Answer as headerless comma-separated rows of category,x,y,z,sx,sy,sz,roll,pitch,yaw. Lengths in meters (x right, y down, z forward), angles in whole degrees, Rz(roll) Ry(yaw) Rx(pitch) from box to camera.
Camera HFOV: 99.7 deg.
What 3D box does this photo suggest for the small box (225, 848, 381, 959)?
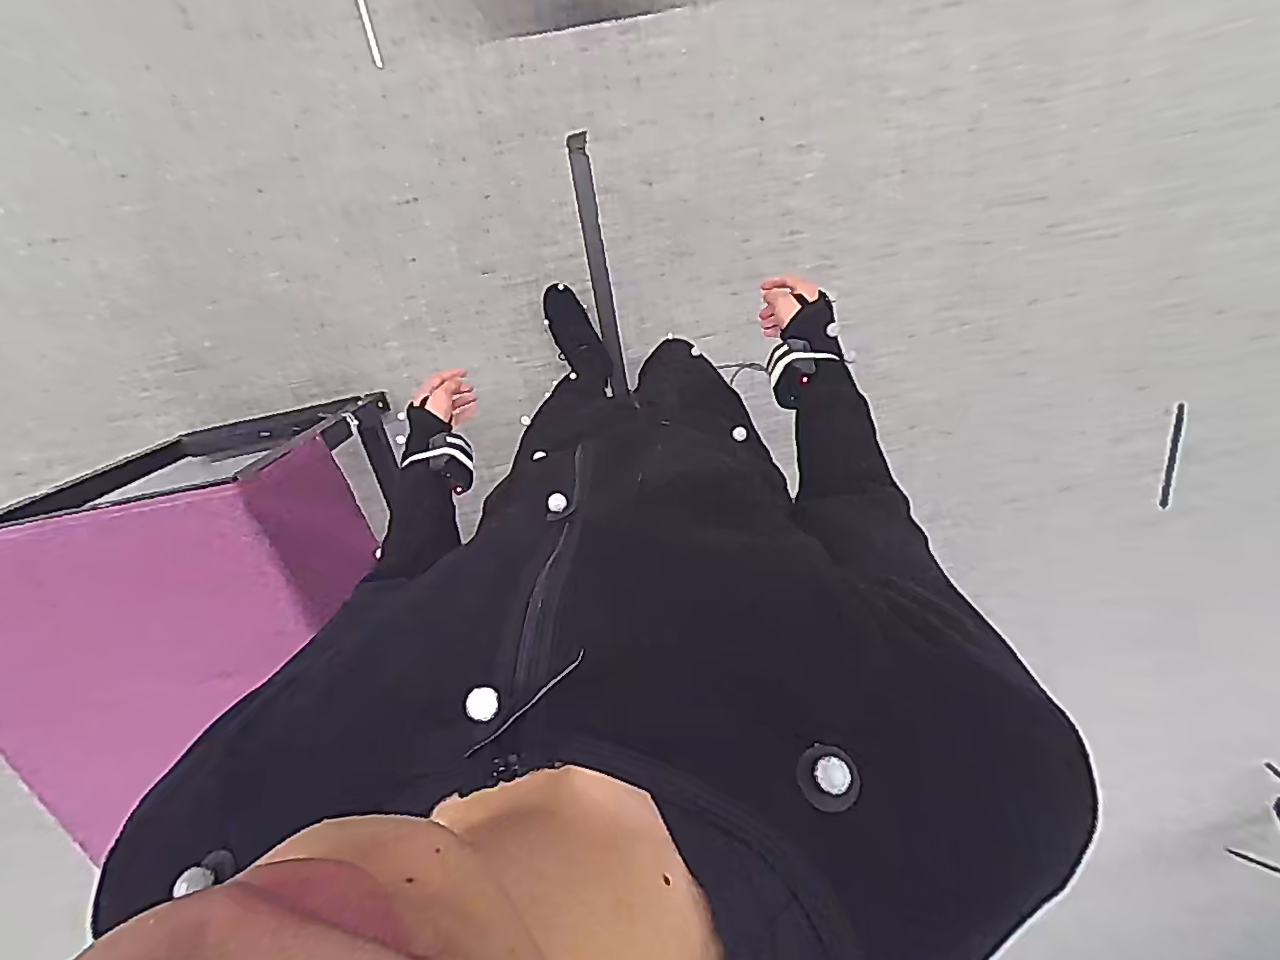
small box,-0.659,0.890,1.081,0.179,0.176,0.168,-24,112,3
